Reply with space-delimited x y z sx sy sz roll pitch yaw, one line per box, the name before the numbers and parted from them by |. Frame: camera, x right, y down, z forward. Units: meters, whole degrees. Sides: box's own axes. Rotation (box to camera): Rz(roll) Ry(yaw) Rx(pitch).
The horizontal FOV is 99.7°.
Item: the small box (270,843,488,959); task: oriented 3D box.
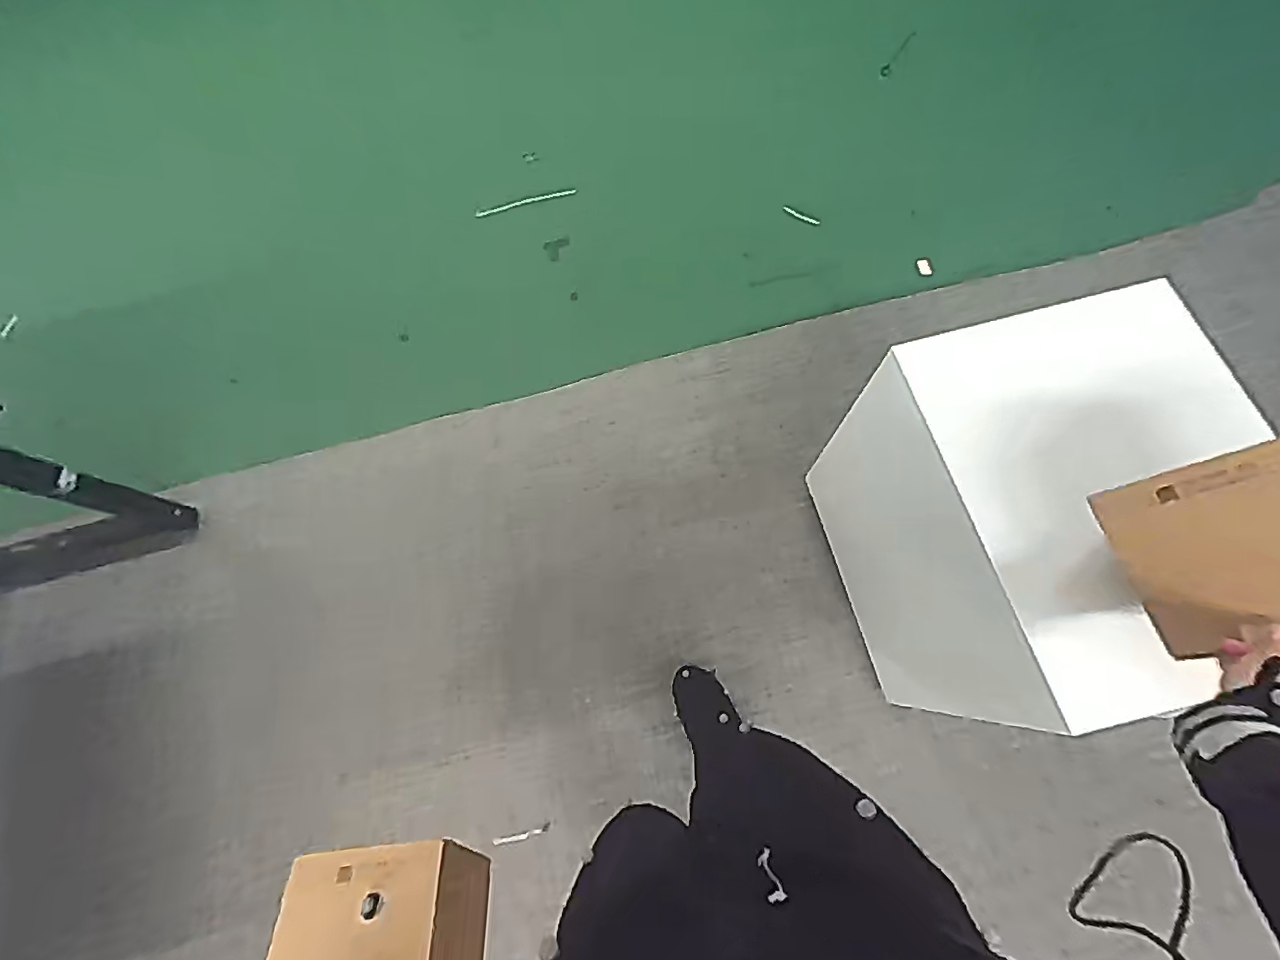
small box | -0.276 0.512 0.592 0.168 0.179 0.176 -8 48 1
